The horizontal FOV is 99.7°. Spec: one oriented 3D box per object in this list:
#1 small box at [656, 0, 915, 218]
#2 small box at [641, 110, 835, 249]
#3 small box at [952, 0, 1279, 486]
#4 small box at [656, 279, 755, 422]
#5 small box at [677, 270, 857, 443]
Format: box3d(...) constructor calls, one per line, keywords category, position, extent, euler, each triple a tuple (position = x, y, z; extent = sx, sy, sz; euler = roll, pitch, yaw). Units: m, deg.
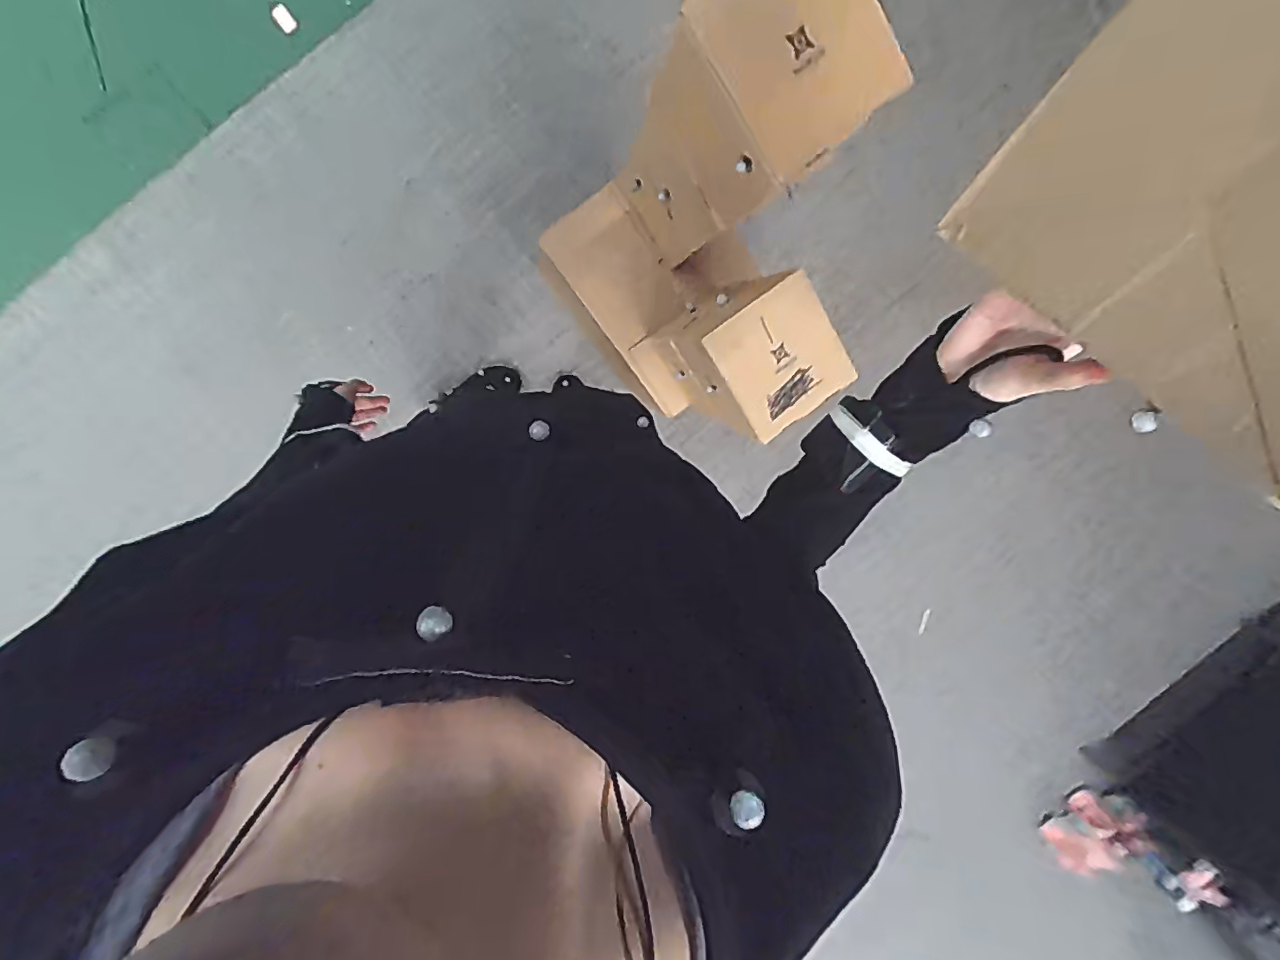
box3d(category="small box", position=(0.137, -0.414, 0.572), extent=(0.168, 0.176, 0.179), euler=(-38, 107, 1))
box3d(category="small box", position=(0.121, -0.442, 0.732), extent=(0.179, 0.176, 0.168), euler=(-33, 106, -1))
box3d(category="small box", position=(0.267, -0.104, 0.206), extent=(0.176, 0.179, 0.168), euler=(10, 134, -33))
box3d(category="small box", position=(0.147, -0.225, 0.959), extent=(0.168, 0.176, 0.179), euler=(-35, 106, 2))
box3d(category="small box", position=(0.178, -0.183, 0.803), extent=(0.168, 0.176, 0.179), euler=(-35, 107, 0))
